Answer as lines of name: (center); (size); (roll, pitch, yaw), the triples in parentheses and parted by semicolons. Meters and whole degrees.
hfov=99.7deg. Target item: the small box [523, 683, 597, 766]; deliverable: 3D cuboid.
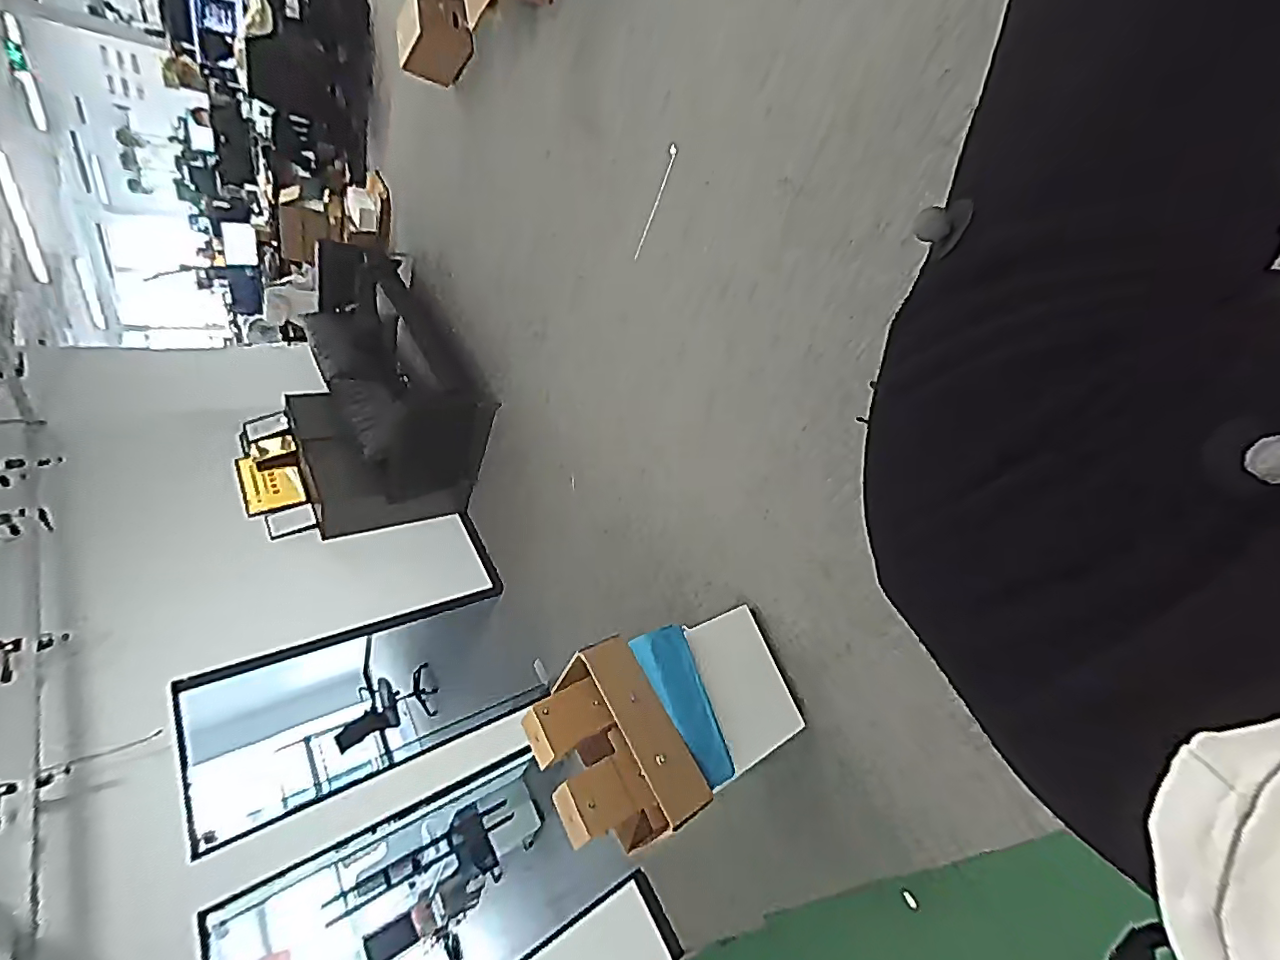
small box: (-0.268, 0.824, 1.832); (0.179, 0.176, 0.168); (56, 138, 26)

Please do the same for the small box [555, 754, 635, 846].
small box: (-0.142, 1.010, 1.713); (0.179, 0.176, 0.168); (56, 138, 28)
